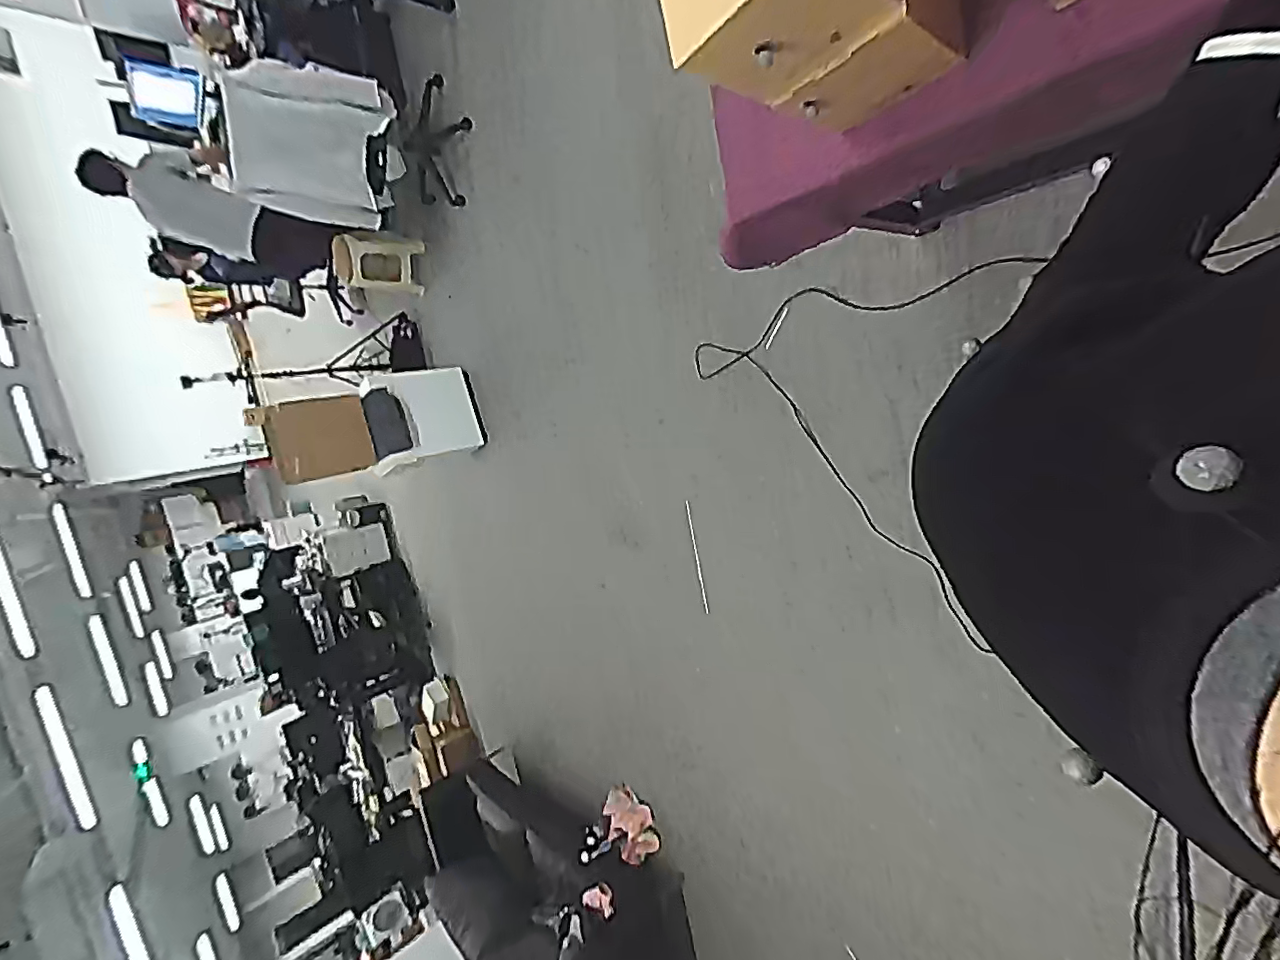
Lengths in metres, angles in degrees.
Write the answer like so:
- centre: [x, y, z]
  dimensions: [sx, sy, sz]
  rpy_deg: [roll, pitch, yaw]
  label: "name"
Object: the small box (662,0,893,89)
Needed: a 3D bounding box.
- centre: [0.131, -0.532, 0.540]
  dimensions: [0.168, 0.176, 0.179]
  rpy_deg: [-7, 96, 50]
  label: "small box"
